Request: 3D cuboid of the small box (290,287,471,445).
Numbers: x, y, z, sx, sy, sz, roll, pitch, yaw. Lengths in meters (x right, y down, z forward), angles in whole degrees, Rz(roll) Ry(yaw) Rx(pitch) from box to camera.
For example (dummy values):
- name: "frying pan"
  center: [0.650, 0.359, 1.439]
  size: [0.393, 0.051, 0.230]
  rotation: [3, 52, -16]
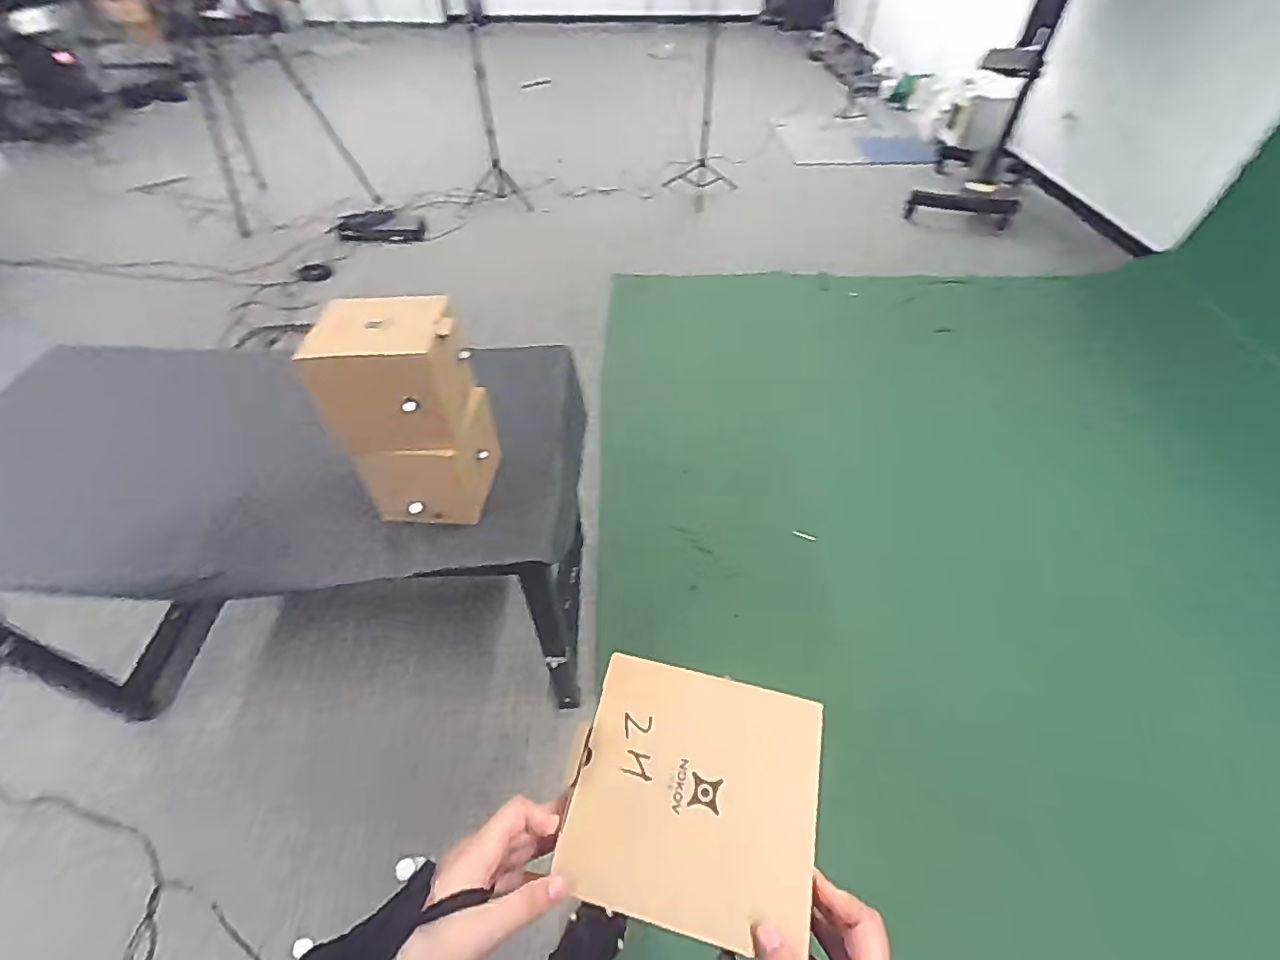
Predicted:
- name: "small box"
  center: [-0.366, -0.168, 0.806]
  size: [0.179, 0.176, 0.168]
  rotation: [-4, 45, -1]

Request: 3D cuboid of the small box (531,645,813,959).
- name: "small box"
  center: [0.034, 0.261, 0.450]
  size: [0.179, 0.176, 0.168]
  rotation: [9, 54, 11]

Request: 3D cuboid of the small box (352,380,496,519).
- name: "small box"
  center: [-0.355, -0.057, 0.924]
  size: [0.168, 0.176, 0.179]
  rotation: [3, 47, 3]
